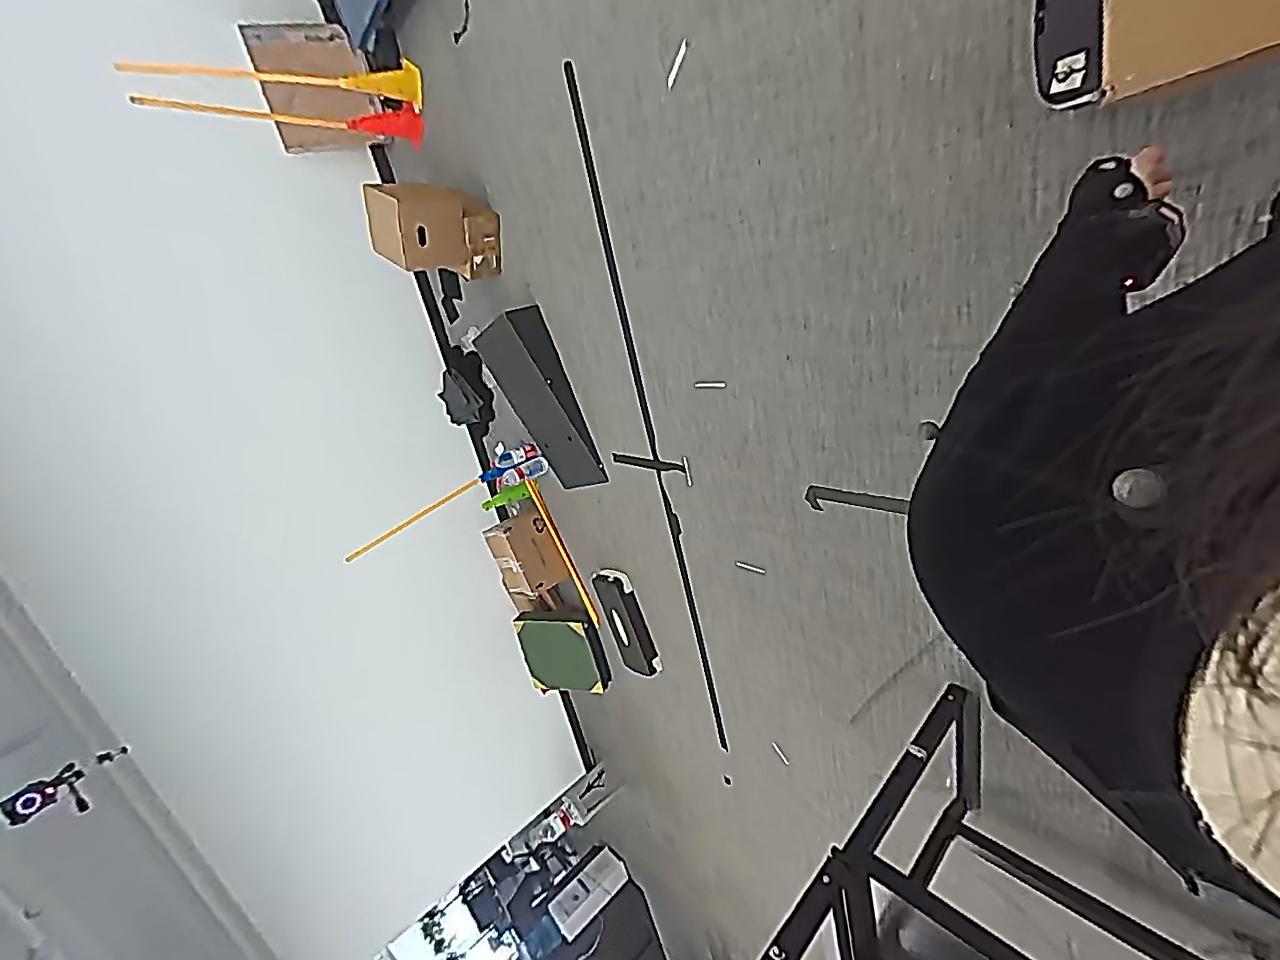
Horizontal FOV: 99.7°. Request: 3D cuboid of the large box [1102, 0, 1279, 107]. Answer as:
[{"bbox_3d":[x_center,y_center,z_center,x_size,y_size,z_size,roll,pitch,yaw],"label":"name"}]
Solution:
[{"bbox_3d":[0.797,-0.666,0.582,0.408,0.320,0.320,8,118,51],"label":"large box"}]
